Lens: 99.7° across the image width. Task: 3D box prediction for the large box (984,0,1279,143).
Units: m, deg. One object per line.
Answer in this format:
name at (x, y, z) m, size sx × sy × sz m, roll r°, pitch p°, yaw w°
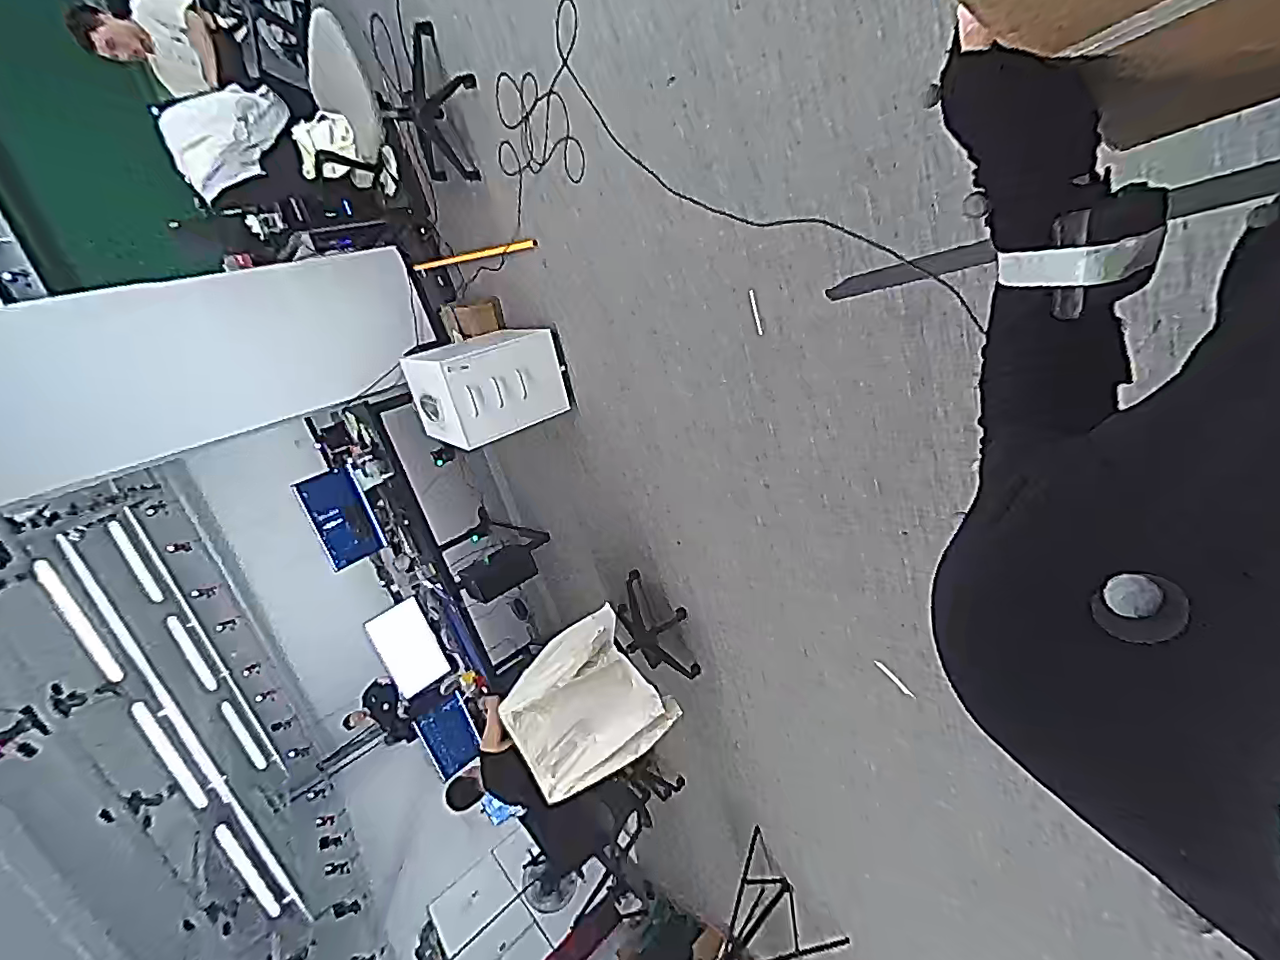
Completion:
large box at (0.318, -0.364, 0.116) m, size 0.408 × 0.320 × 0.320 m, roll 4°, pitch 98°, yaw 53°
